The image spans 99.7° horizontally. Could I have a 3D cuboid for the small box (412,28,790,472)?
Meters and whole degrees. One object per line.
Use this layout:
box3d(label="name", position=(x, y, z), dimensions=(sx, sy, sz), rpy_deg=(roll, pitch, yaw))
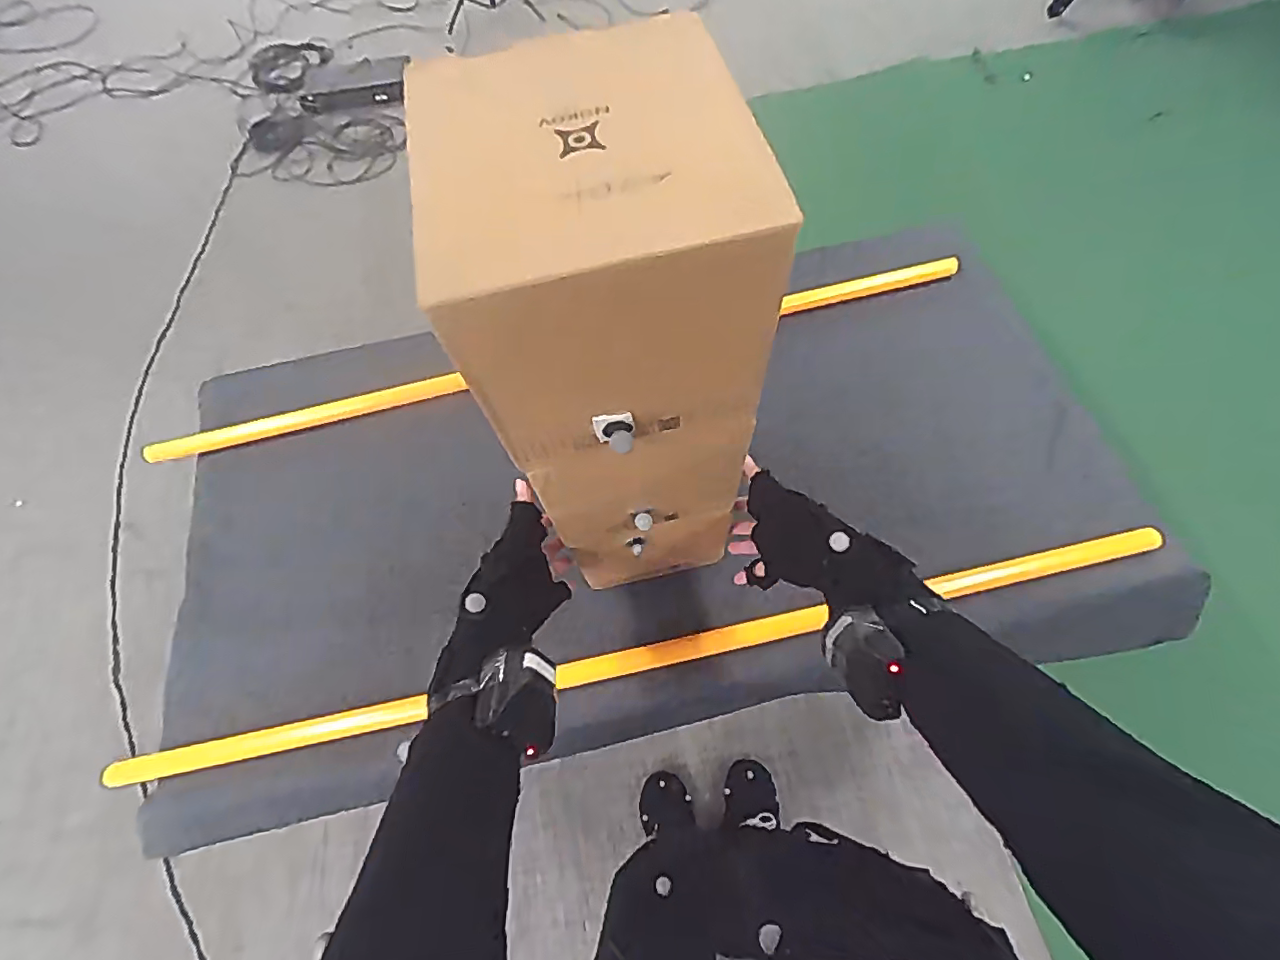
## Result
box3d(label="small box", position=(-0.025, -0.130, 0.341), dimensions=(0.168, 0.176, 0.179), rpy_deg=(-14, 66, -1))

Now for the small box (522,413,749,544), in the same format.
box3d(label="small box", position=(-0.015, -0.063, 0.488), dimensions=(0.168, 0.176, 0.179), rpy_deg=(-13, 65, -2))

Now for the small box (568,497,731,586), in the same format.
box3d(label="small box", position=(-0.002, 0.006, 0.636), dimensions=(0.168, 0.176, 0.179), rpy_deg=(-12, 64, -2))
